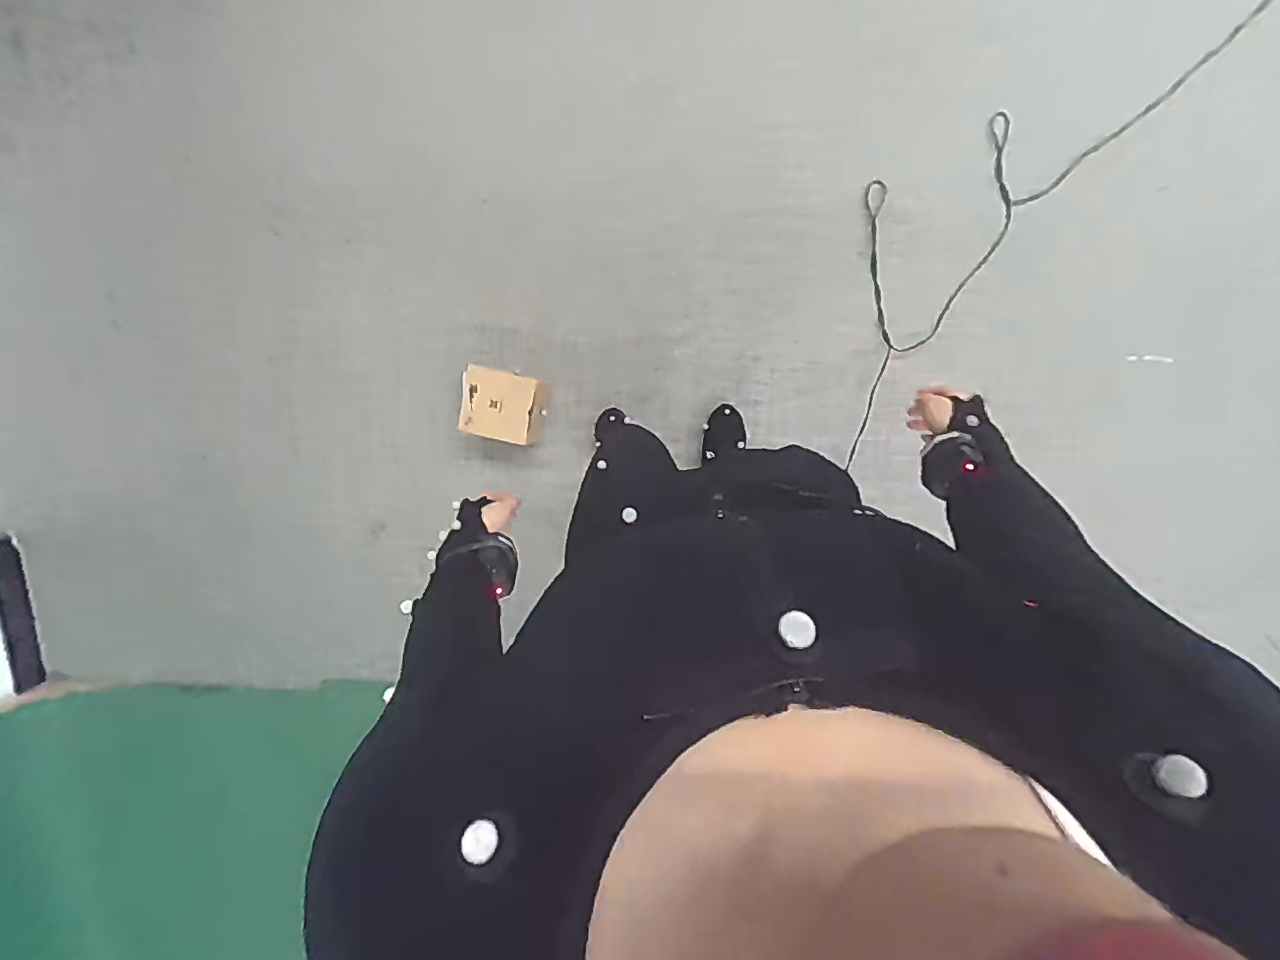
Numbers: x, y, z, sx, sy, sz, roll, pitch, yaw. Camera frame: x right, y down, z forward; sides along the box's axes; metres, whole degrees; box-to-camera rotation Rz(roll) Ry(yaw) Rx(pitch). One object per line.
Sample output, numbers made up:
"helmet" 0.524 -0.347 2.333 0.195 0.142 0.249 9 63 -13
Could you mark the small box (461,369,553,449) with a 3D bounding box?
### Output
"small box" -0.334 -0.186 1.391 0.179 0.176 0.168 13 100 1
